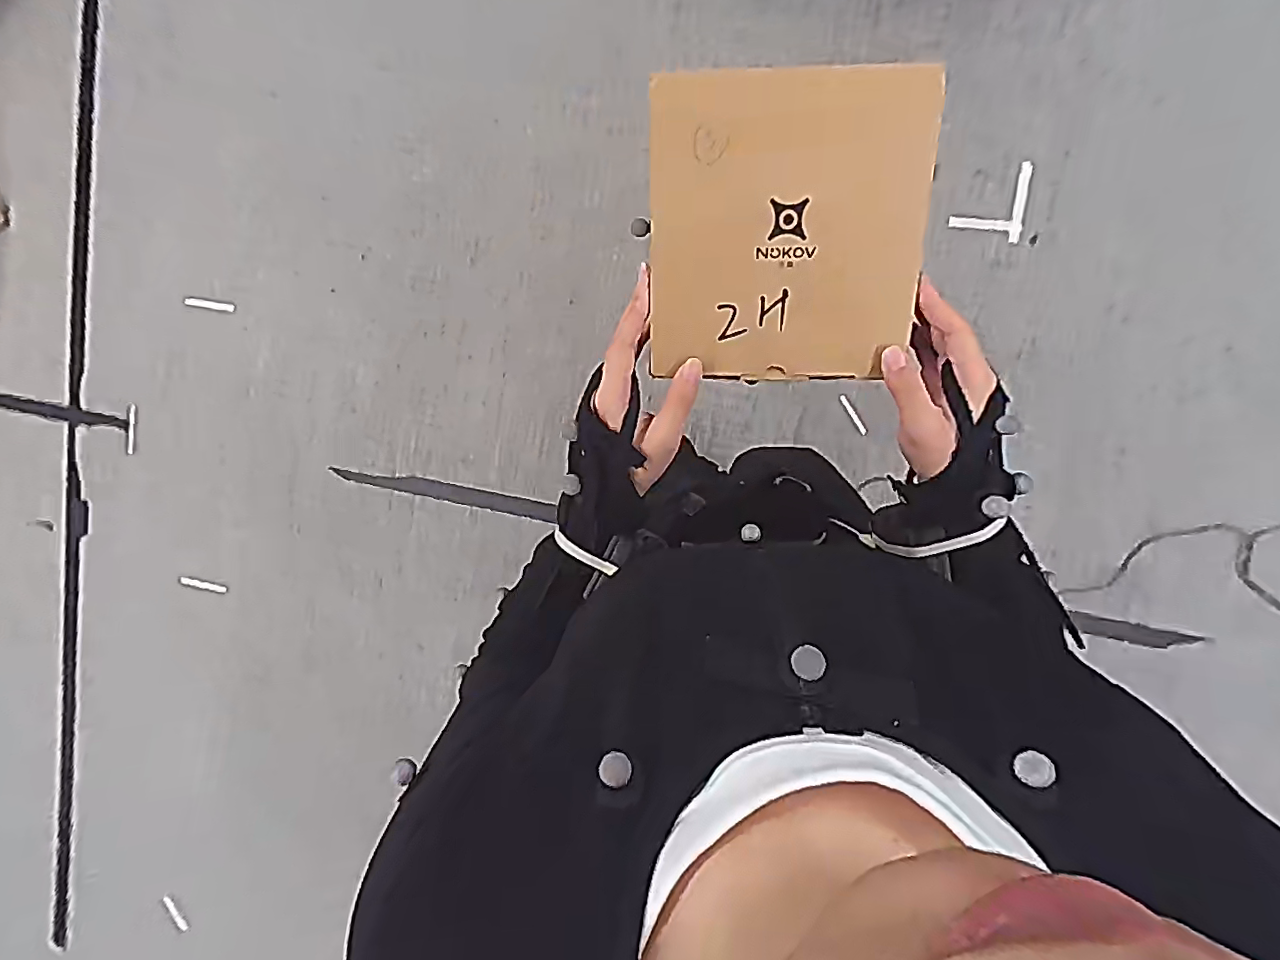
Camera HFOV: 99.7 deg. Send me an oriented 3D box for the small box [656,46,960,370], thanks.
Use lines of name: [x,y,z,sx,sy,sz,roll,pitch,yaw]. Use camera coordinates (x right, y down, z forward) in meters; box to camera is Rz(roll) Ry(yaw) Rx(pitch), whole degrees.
small box: [0.099,-0.178,0.400,0.168,0.176,0.179,2,107,4]
